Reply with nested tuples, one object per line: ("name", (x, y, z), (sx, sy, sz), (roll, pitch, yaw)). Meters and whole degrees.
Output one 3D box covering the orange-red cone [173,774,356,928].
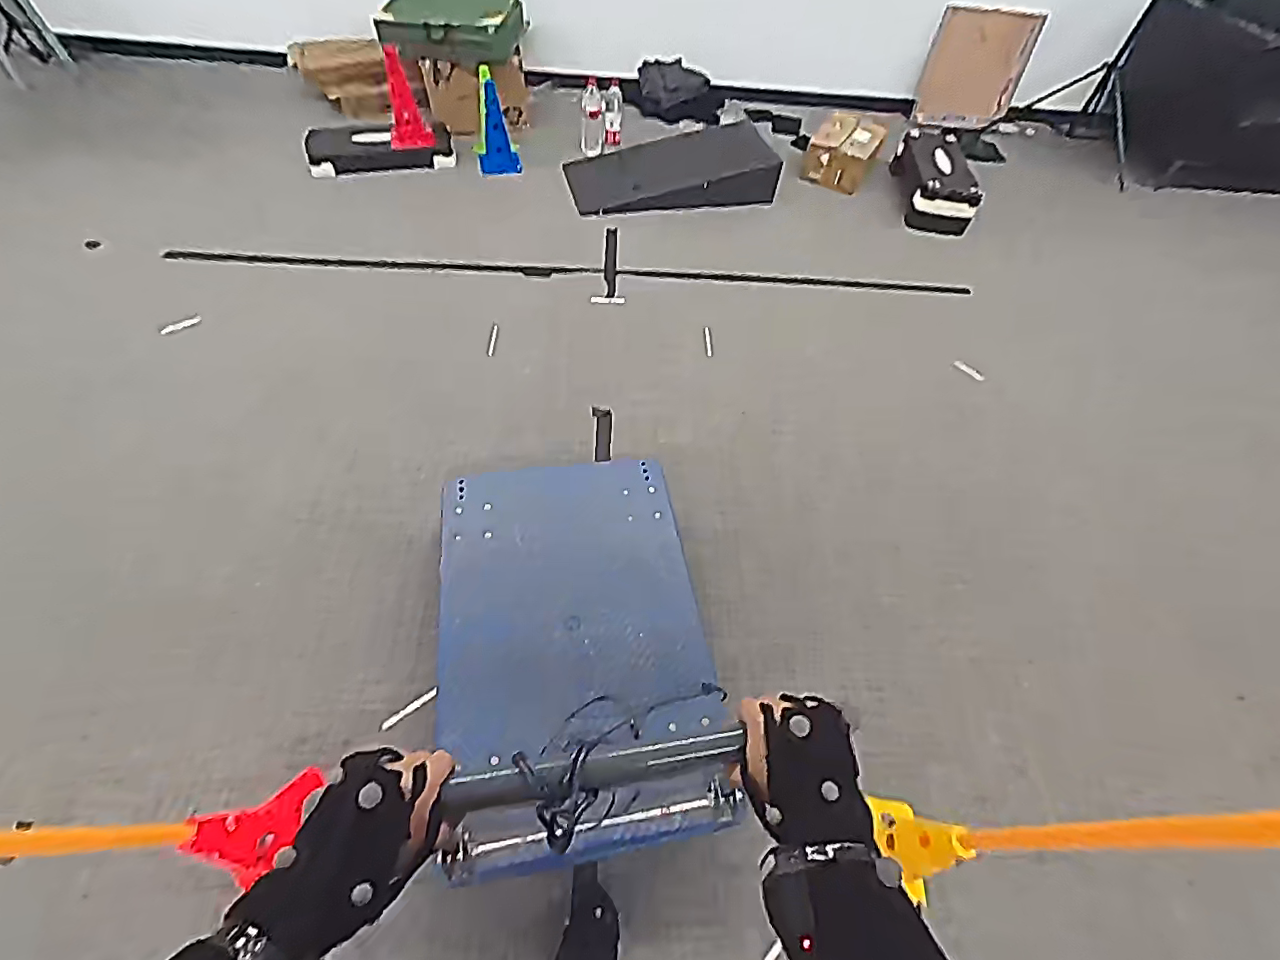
("orange-red cone", (-0.676, 0.620, 0.928), (0.198, 0.360, 0.199), (40, 59, 21))
